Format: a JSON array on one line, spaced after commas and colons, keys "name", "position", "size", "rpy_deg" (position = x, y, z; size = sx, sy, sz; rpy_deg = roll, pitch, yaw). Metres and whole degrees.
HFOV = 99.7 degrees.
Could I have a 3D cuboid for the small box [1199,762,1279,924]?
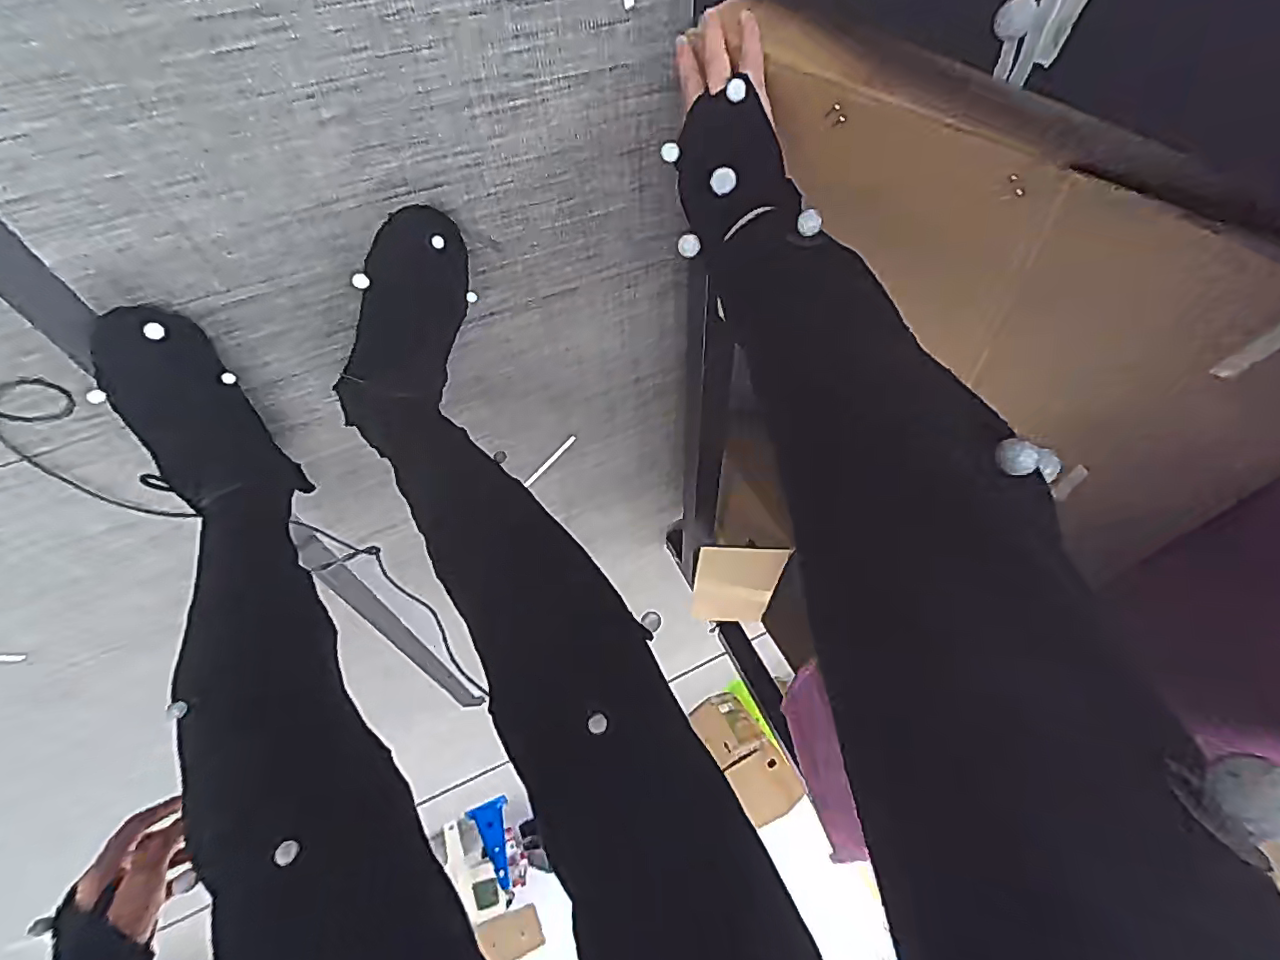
[{"name": "small box", "position": [0.432, 0.193, 0.234], "size": [0.168, 0.176, 0.179], "rpy_deg": [-21, 146, -11]}]
